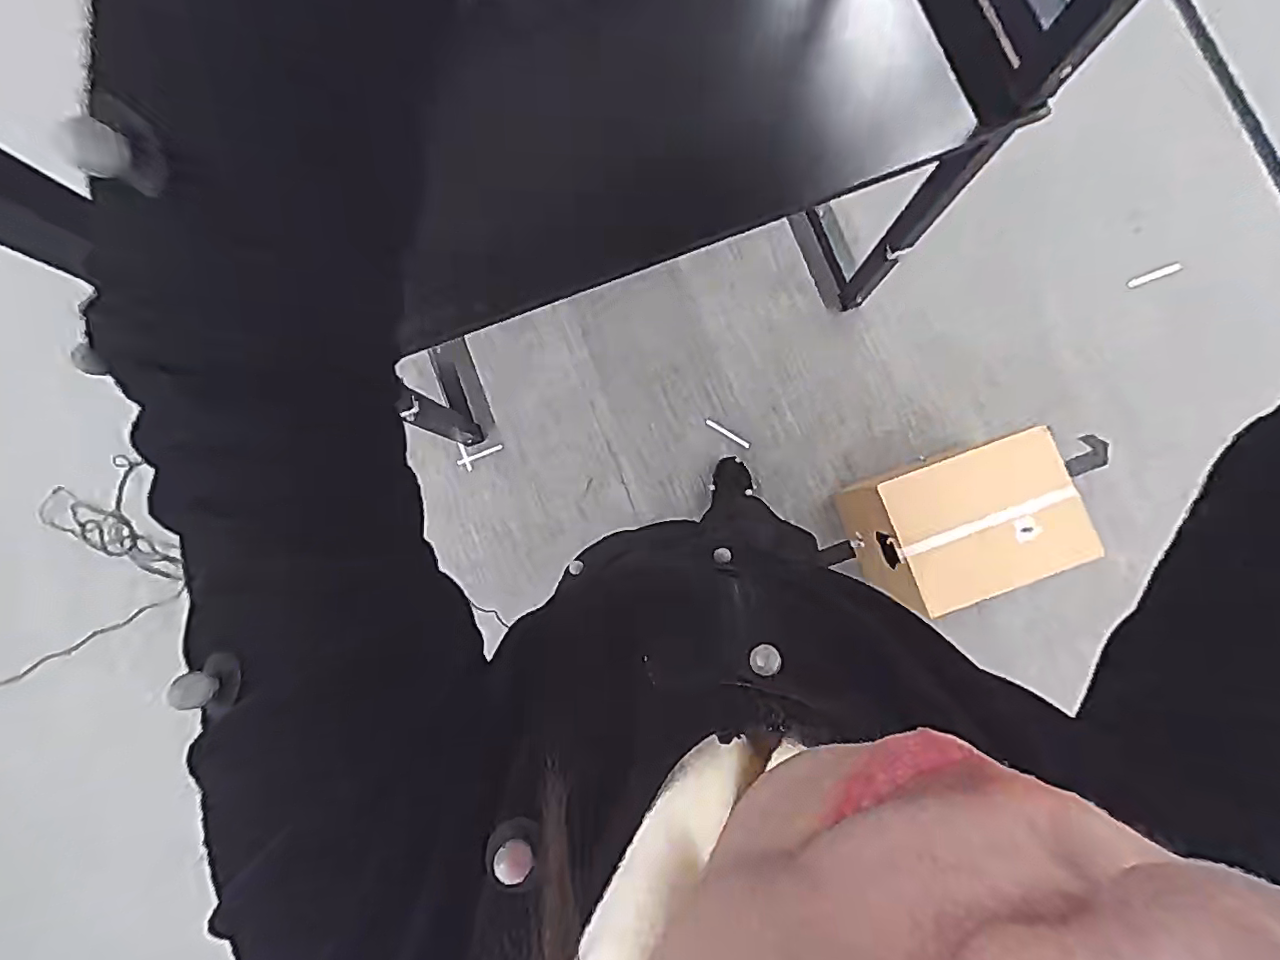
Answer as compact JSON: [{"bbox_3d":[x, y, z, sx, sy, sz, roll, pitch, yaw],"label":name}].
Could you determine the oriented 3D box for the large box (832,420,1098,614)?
[{"bbox_3d":[0.755,0.092,1.324,0.408,0.320,0.320,-20,86,-1],"label":"large box"}]
